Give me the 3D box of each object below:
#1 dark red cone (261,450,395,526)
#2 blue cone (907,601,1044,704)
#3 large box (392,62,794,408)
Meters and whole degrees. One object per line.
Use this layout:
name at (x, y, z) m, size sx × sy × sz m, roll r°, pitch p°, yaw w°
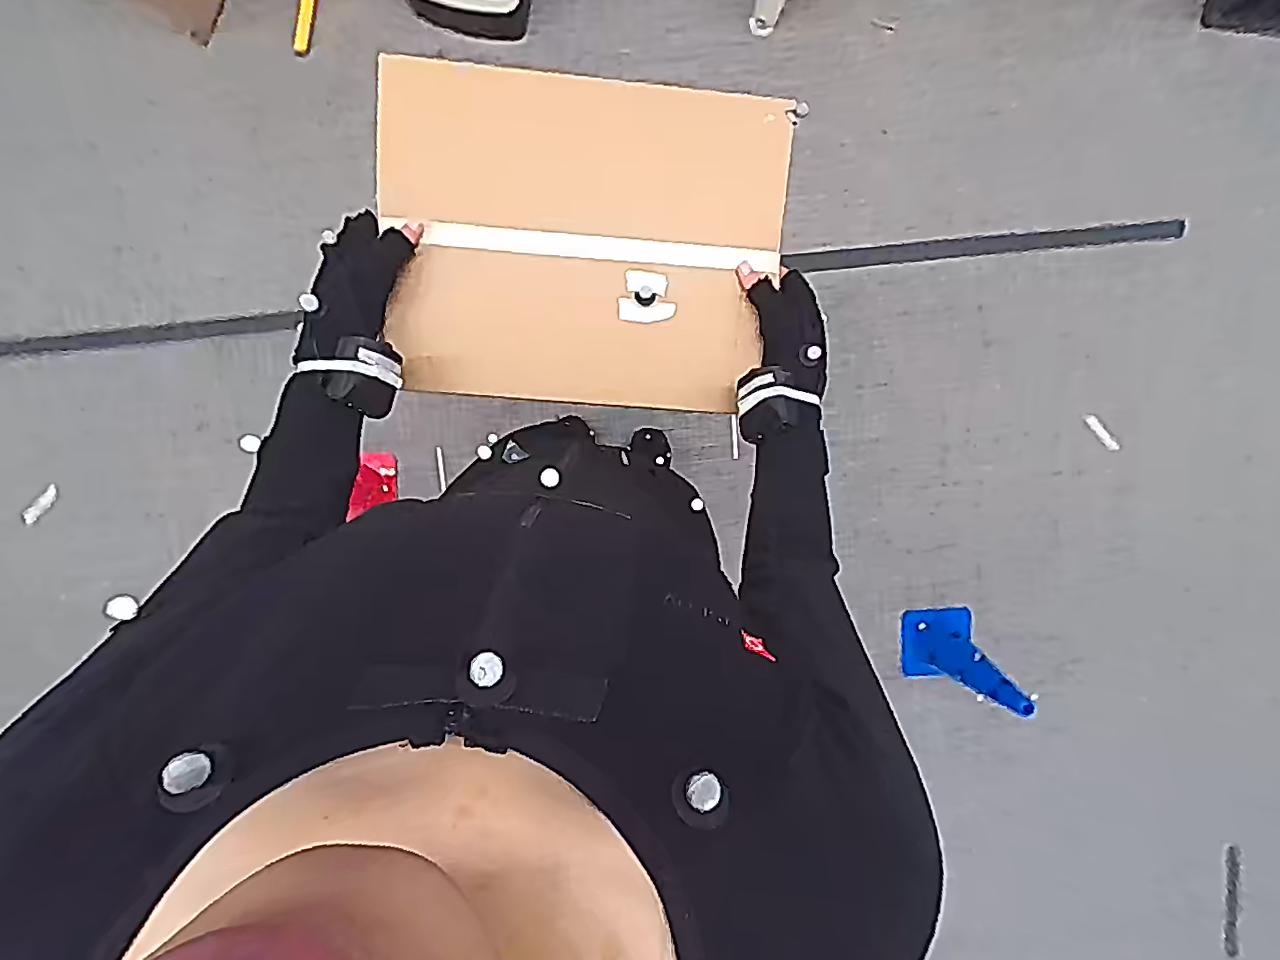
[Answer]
dark red cone at (-0.746, 0.042, 1.271) m, size 0.201 × 0.394 × 0.202 m, roll 0°, pitch 97°, yaw -2°
blue cone at (0.866, 0.463, 1.387) m, size 0.192 × 0.380 × 0.193 m, roll -2°, pitch 97°, yaw -2°
large box at (-0.062, -0.263, 0.701) m, size 0.408 × 0.320 × 0.320 m, roll 4°, pitch 99°, yaw -4°
